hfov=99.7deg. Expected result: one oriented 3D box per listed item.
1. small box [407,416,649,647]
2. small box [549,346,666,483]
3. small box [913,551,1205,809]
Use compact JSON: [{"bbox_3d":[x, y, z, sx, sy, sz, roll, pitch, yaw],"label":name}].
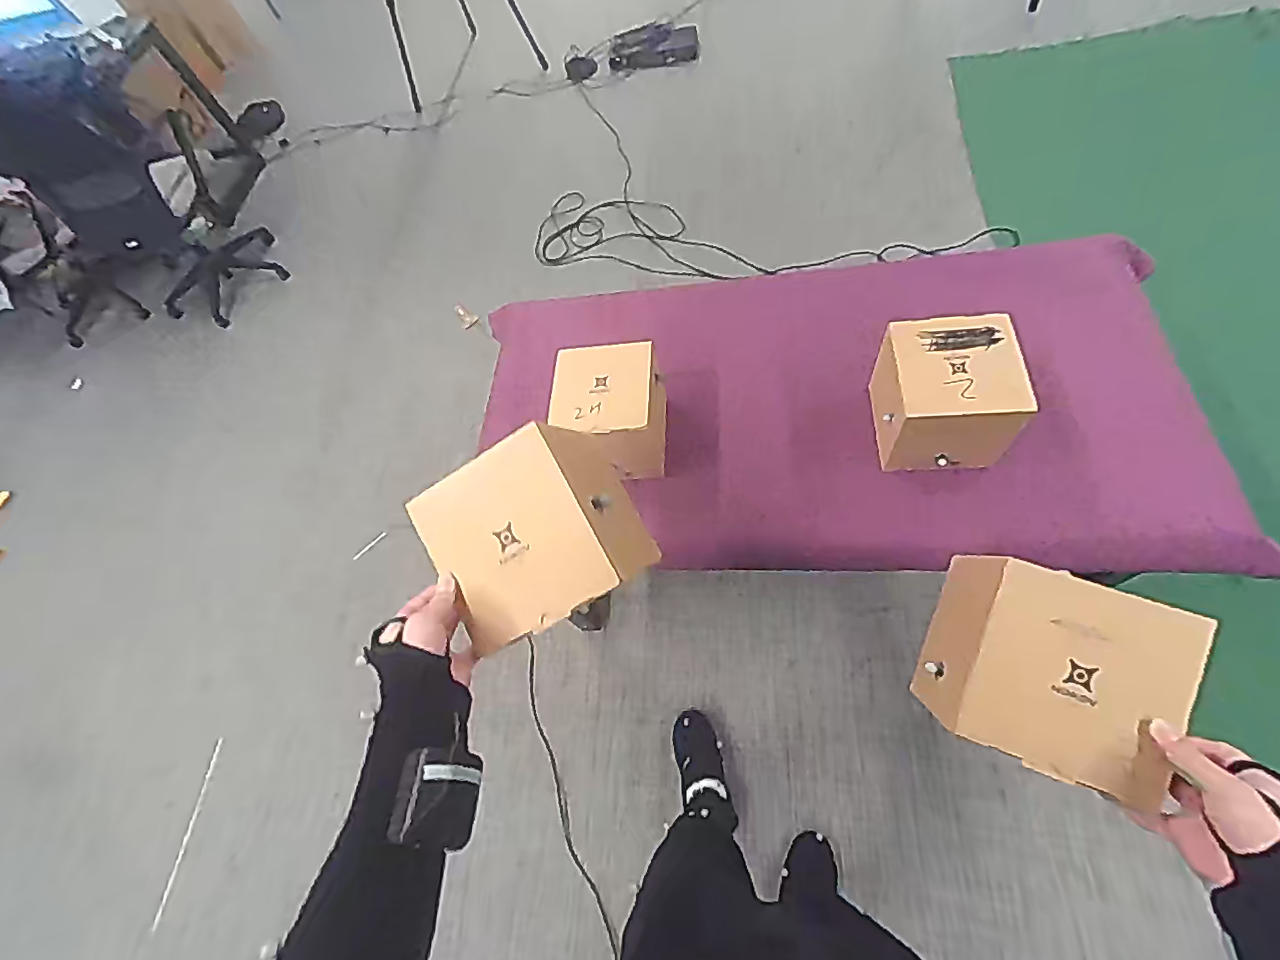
[{"bbox_3d":[-0.111,0.051,0.599,0.168,0.176,0.179,-31,84,12],"label":"small box"},{"bbox_3d":[-0.049,-0.108,0.953,0.168,0.176,0.179,-3,62,12],"label":"small box"},{"bbox_3d":[0.402,0.183,0.557,0.168,0.176,0.179,19,87,17],"label":"small box"}]
